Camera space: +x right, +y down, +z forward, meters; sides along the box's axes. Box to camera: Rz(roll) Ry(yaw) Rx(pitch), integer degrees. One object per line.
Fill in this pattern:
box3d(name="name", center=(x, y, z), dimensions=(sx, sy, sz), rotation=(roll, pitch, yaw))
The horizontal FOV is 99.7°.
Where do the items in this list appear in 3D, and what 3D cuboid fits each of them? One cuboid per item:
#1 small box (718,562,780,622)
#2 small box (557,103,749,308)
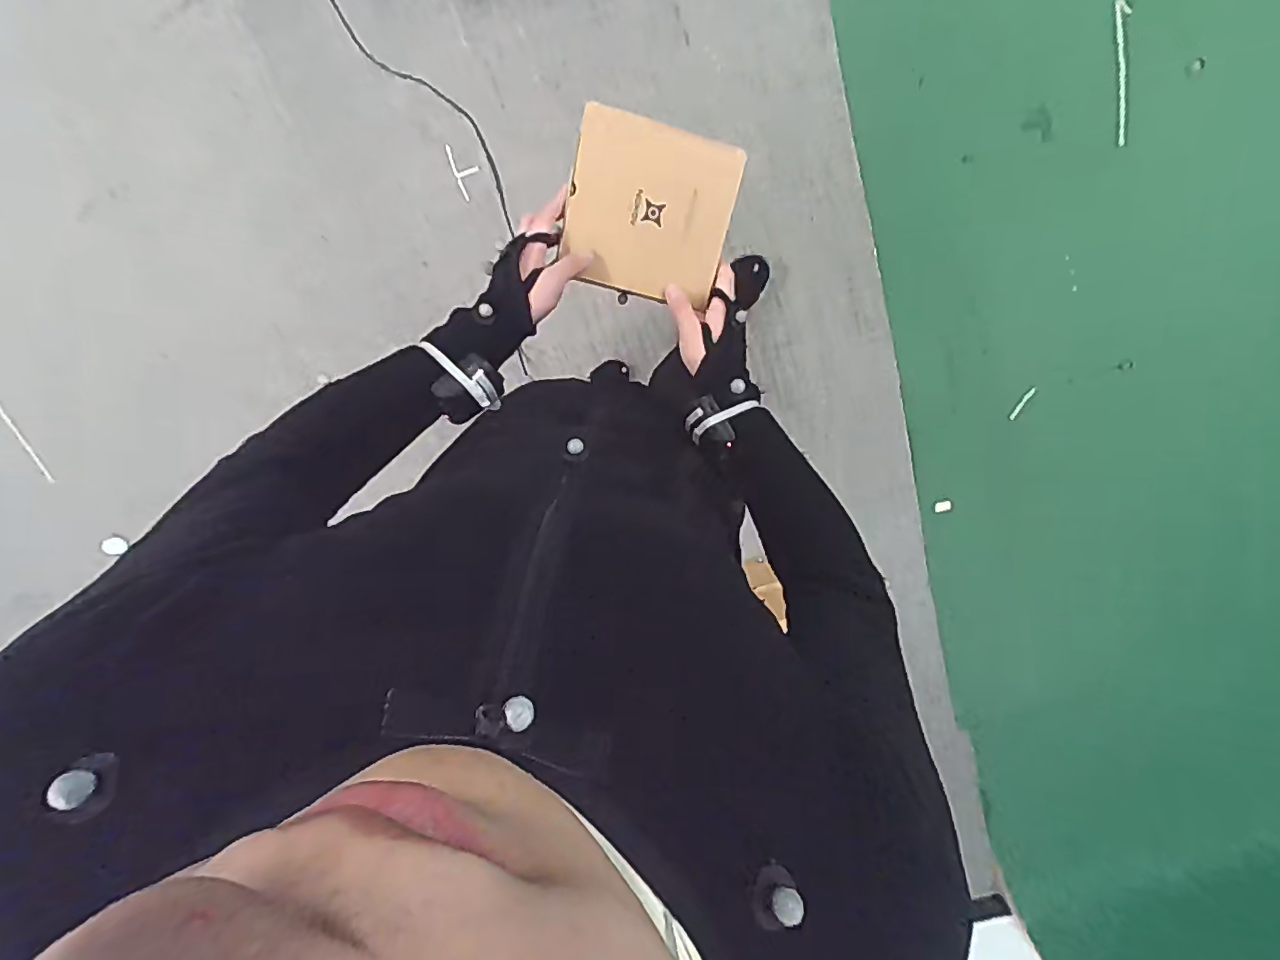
box3d(name="small box", center=(0.350, 0.376, 1.724), dimensions=(0.168, 0.176, 0.179), rotation=(-12, 109, 4))
box3d(name="small box", center=(0.004, -0.310, 0.650), dimensions=(0.179, 0.176, 0.168), rotation=(11, 107, -10))
